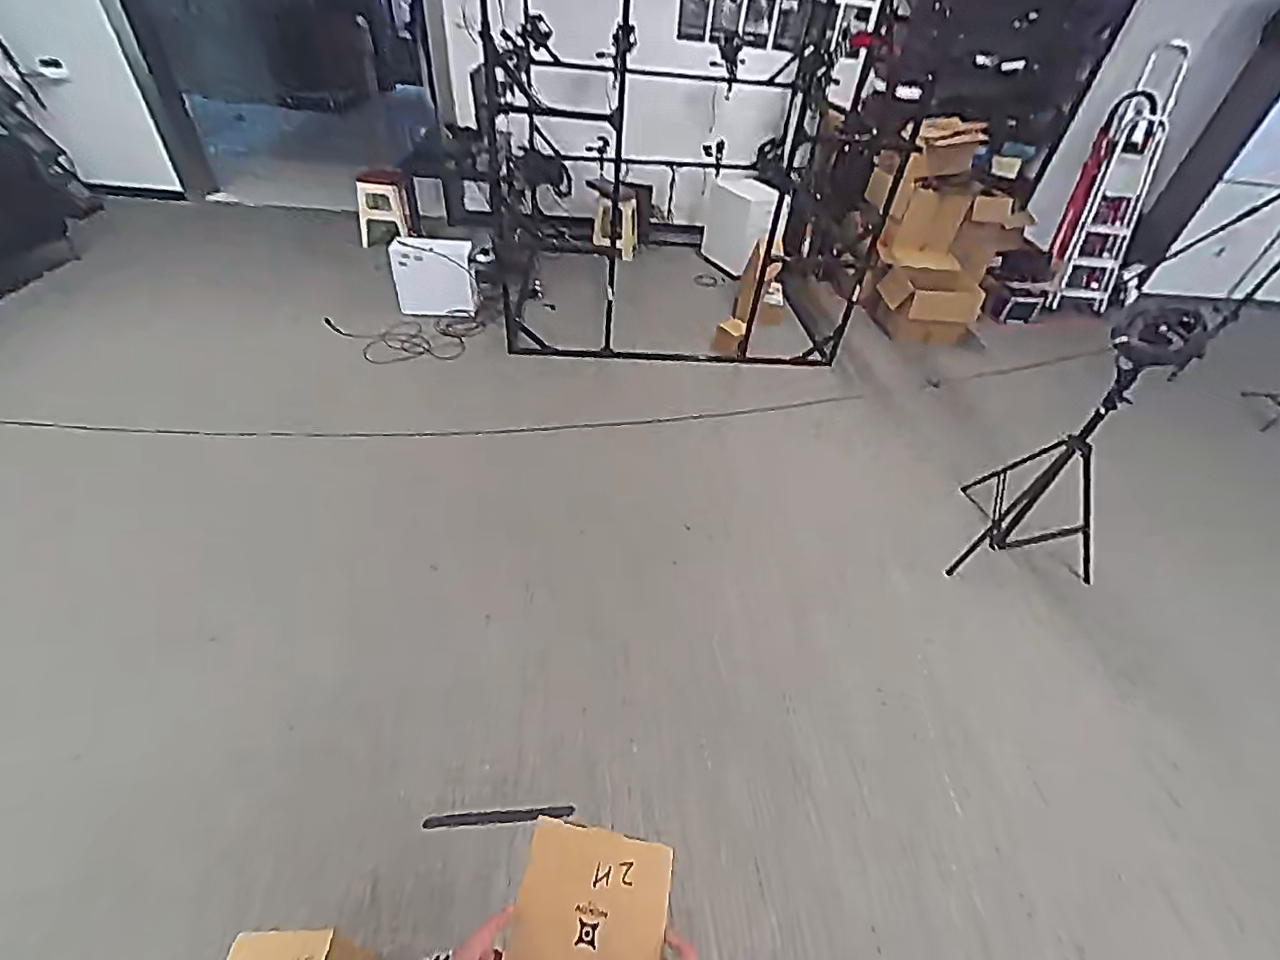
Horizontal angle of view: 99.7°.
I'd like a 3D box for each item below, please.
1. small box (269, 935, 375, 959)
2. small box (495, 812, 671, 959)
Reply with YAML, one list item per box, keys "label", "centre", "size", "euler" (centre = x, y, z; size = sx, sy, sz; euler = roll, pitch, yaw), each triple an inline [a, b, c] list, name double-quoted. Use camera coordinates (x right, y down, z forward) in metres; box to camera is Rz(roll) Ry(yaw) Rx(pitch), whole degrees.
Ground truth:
- label: "small box"
  centre: [-0.664, 1.054, 1.100]
  size: [0.168, 0.176, 0.179]
  euler: [2, 42, -5]
- label: "small box"
  centre: [-0.070, 0.521, 0.629]
  size: [0.168, 0.176, 0.179]
  euler: [14, 45, -1]
